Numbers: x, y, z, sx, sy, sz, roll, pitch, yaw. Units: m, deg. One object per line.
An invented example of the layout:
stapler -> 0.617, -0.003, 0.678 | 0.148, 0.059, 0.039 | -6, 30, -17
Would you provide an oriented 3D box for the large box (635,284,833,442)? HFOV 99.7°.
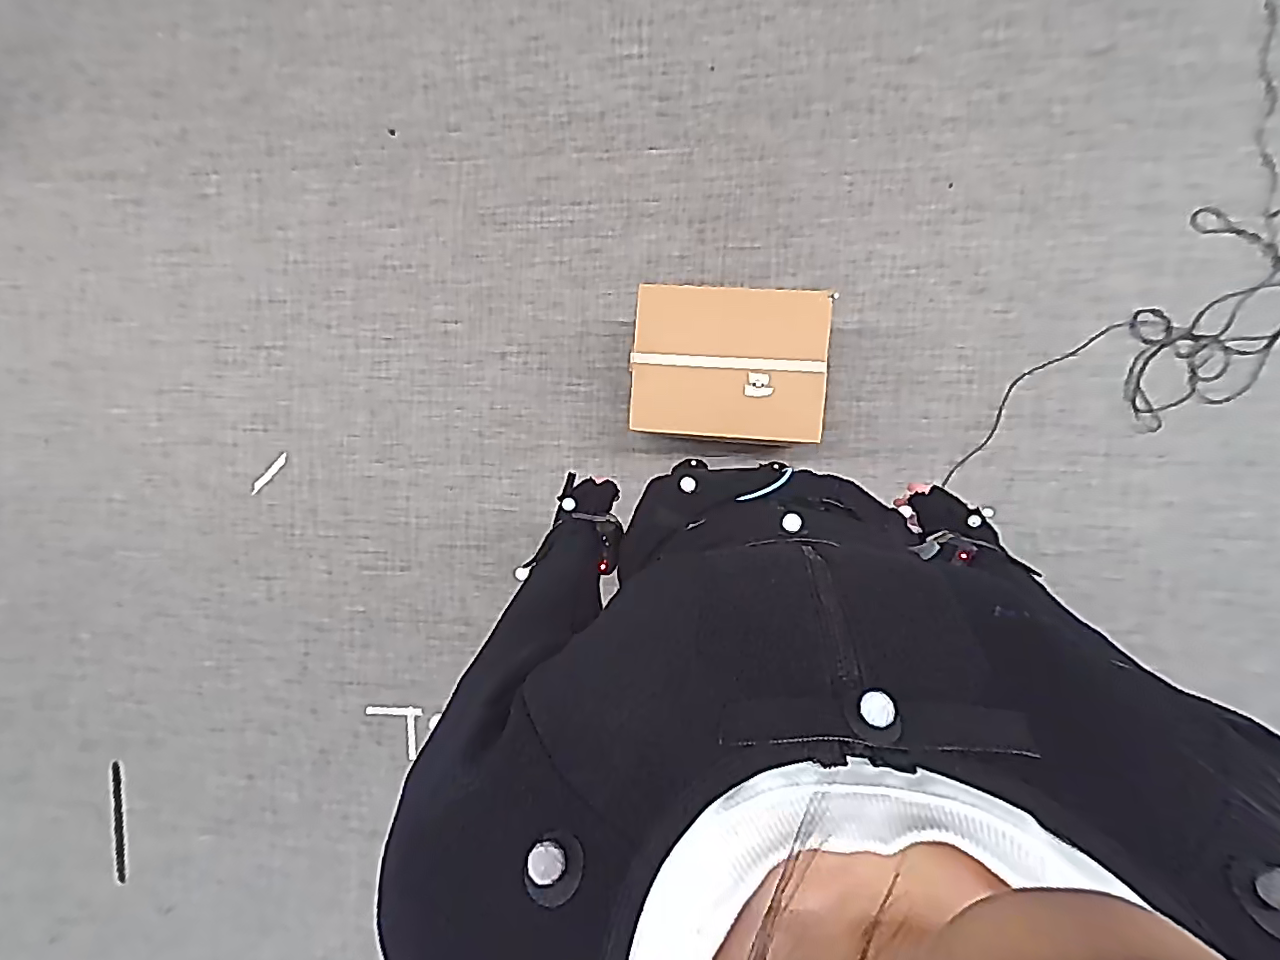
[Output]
large box -> 0.207, -0.258, 1.287 | 0.408, 0.320, 0.320 | 5, 94, 6
